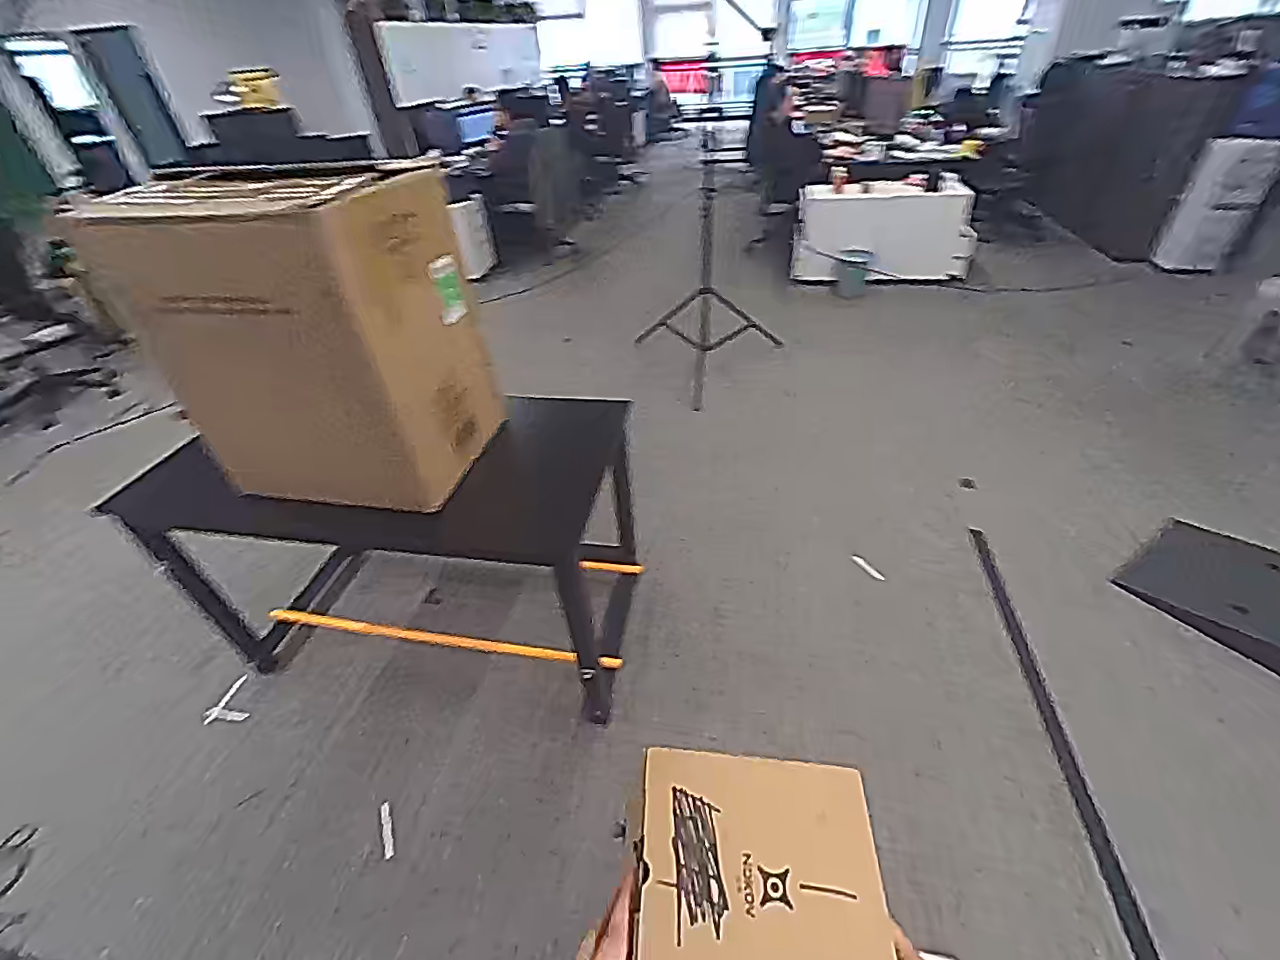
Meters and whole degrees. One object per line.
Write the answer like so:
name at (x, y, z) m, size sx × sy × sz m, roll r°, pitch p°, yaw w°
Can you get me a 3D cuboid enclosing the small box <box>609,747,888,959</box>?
small box at (0.068, 0.333, 0.429) m, size 0.179 × 0.176 × 0.168 m, roll 6°, pitch 45°, yaw -3°
